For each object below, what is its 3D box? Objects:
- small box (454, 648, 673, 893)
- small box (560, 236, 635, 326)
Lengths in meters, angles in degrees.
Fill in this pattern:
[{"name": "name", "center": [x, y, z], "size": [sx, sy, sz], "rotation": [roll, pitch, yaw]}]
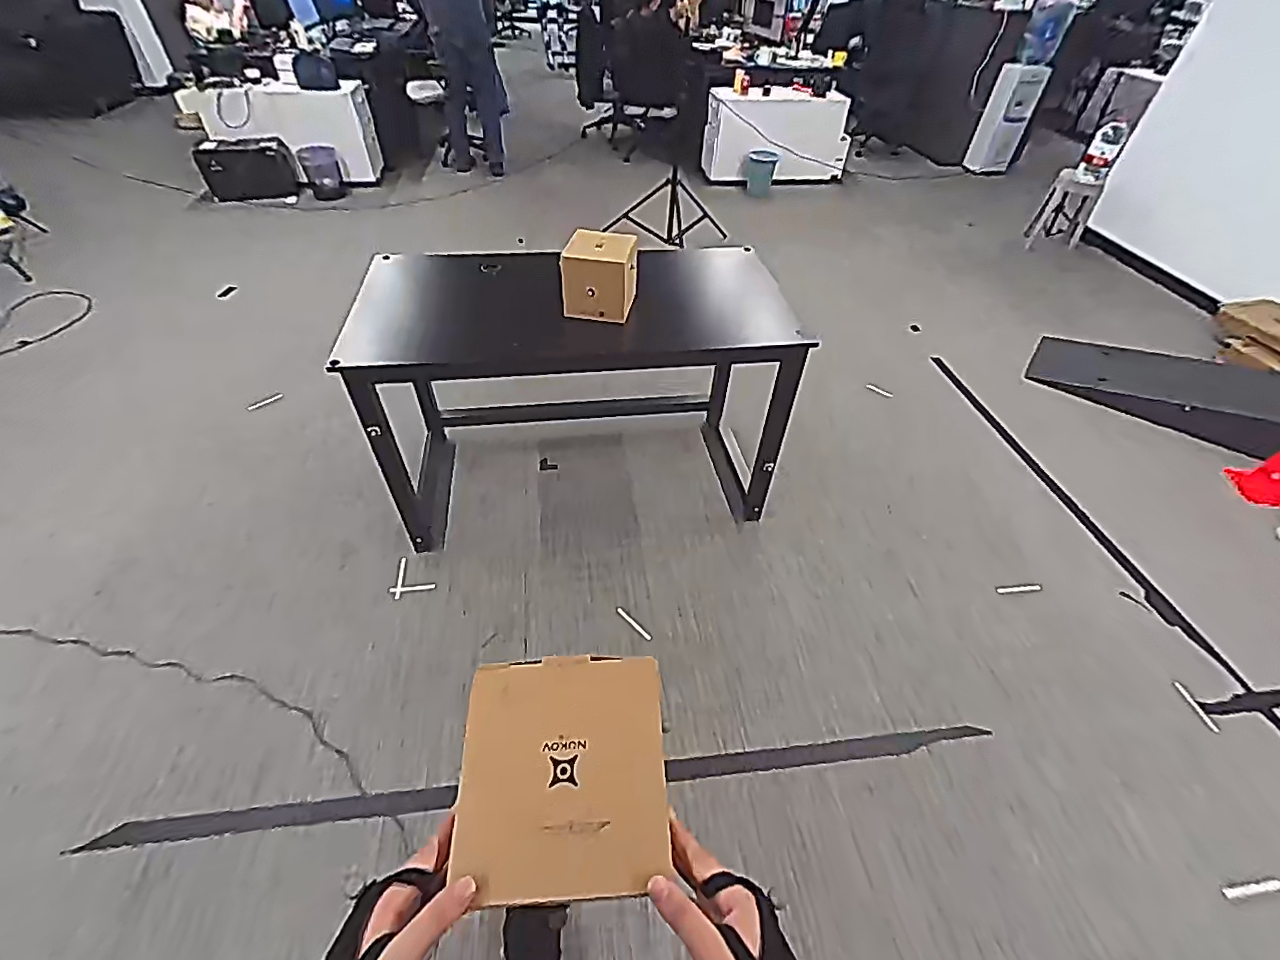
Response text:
[{"name": "small box", "center": [-0.063, 0.277, 0.513], "size": [0.168, 0.176, 0.179], "rotation": [-2, 52, -3]}, {"name": "small box", "center": [-0.108, -0.532, 1.453], "size": [0.168, 0.176, 0.179], "rotation": [9, 45, 5]}]
